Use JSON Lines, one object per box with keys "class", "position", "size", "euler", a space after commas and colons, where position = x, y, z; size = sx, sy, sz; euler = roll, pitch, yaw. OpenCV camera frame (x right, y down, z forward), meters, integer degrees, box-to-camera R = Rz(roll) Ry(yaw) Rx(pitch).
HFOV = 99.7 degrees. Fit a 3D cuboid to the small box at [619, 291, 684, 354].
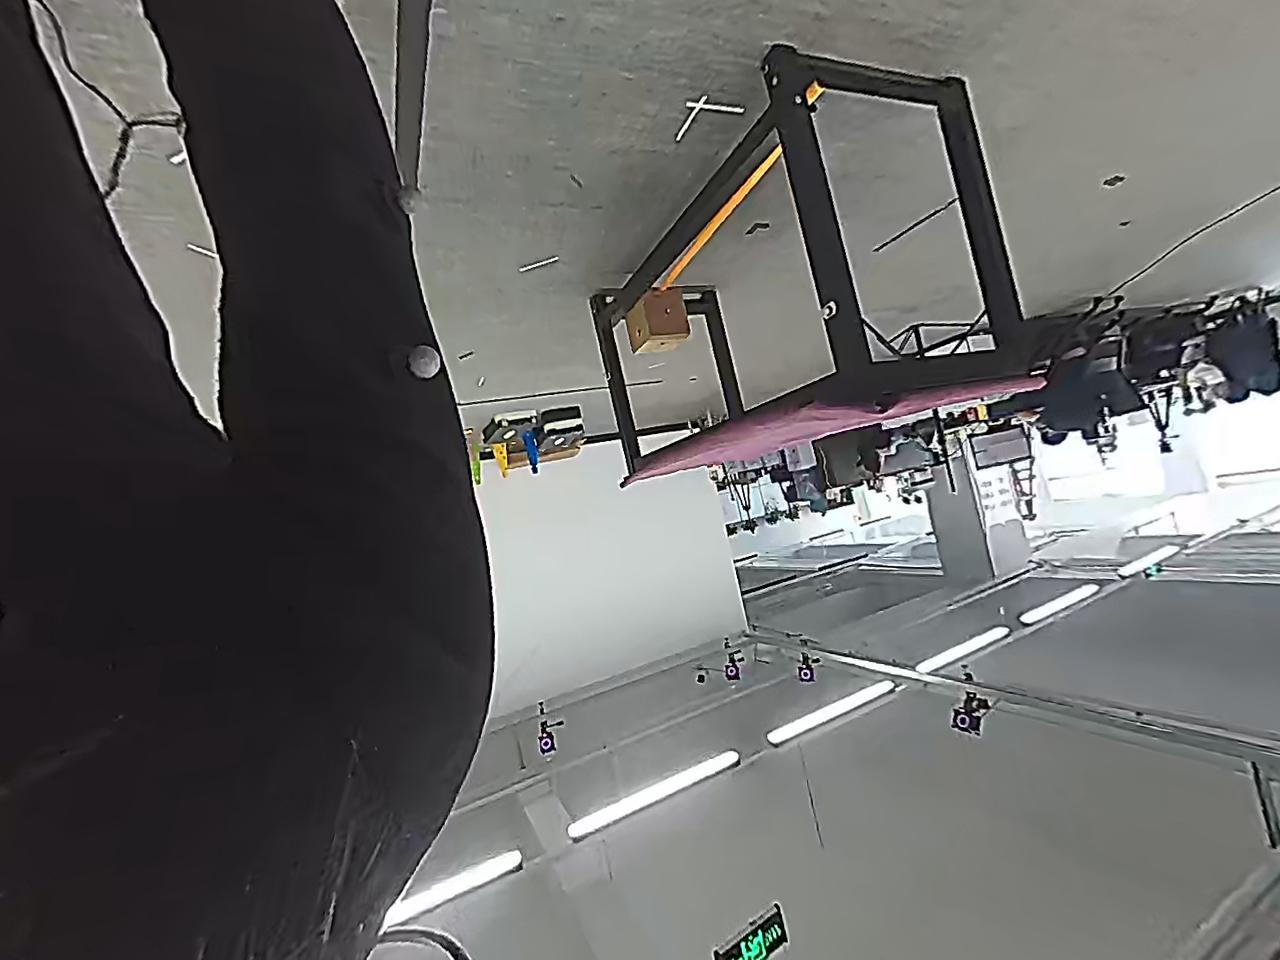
{"class": "small box", "position": [0.035, -0.579, 1.979], "size": [0.168, 0.176, 0.179], "euler": [-10, 176, -24]}
